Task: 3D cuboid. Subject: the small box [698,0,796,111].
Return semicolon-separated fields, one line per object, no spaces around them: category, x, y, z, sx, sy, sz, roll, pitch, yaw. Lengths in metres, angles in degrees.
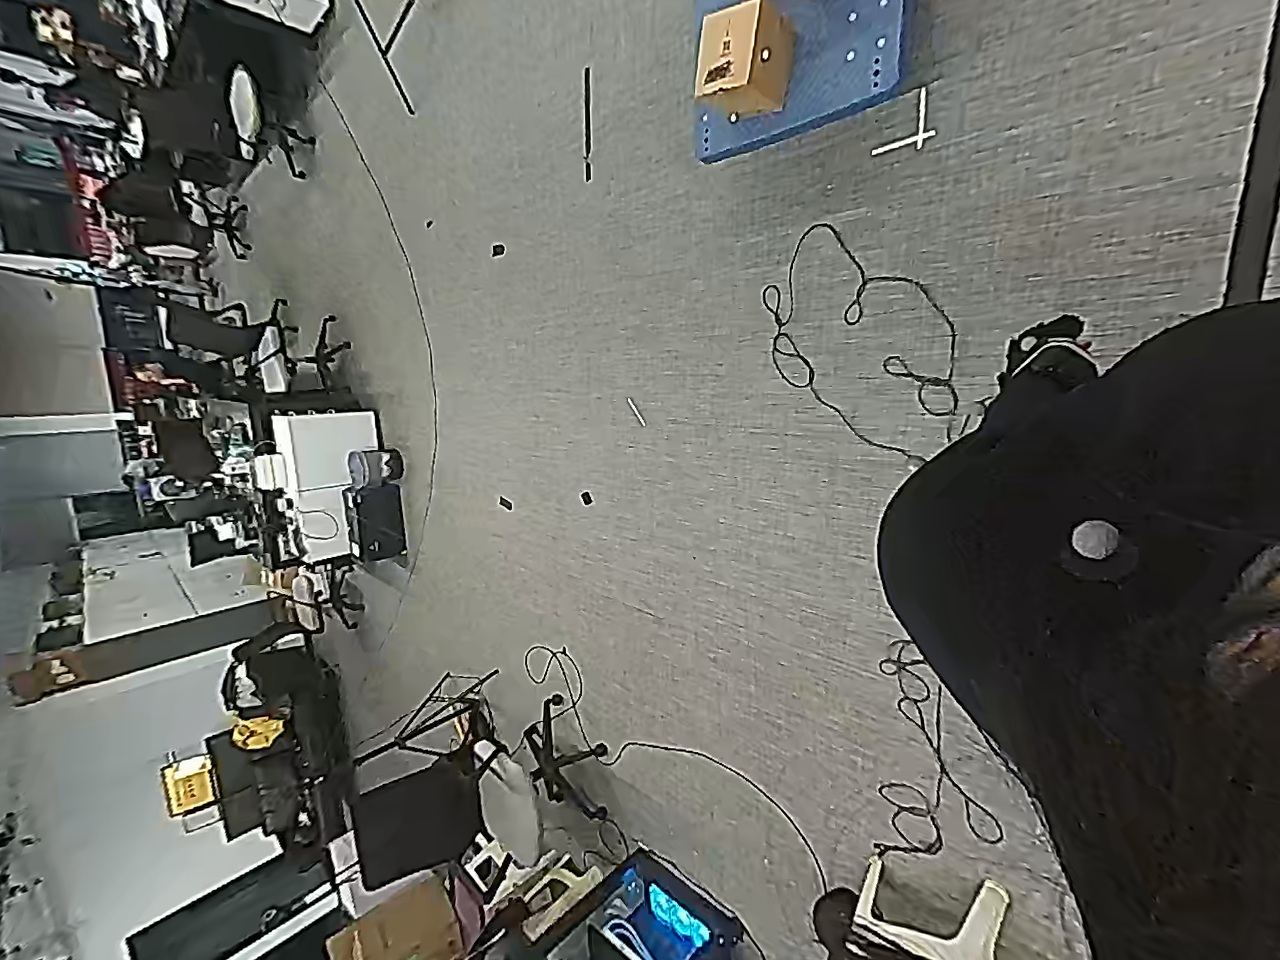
small box;0.268;-1.050;1.347;0.168;0.176;0.179;21;111;40
